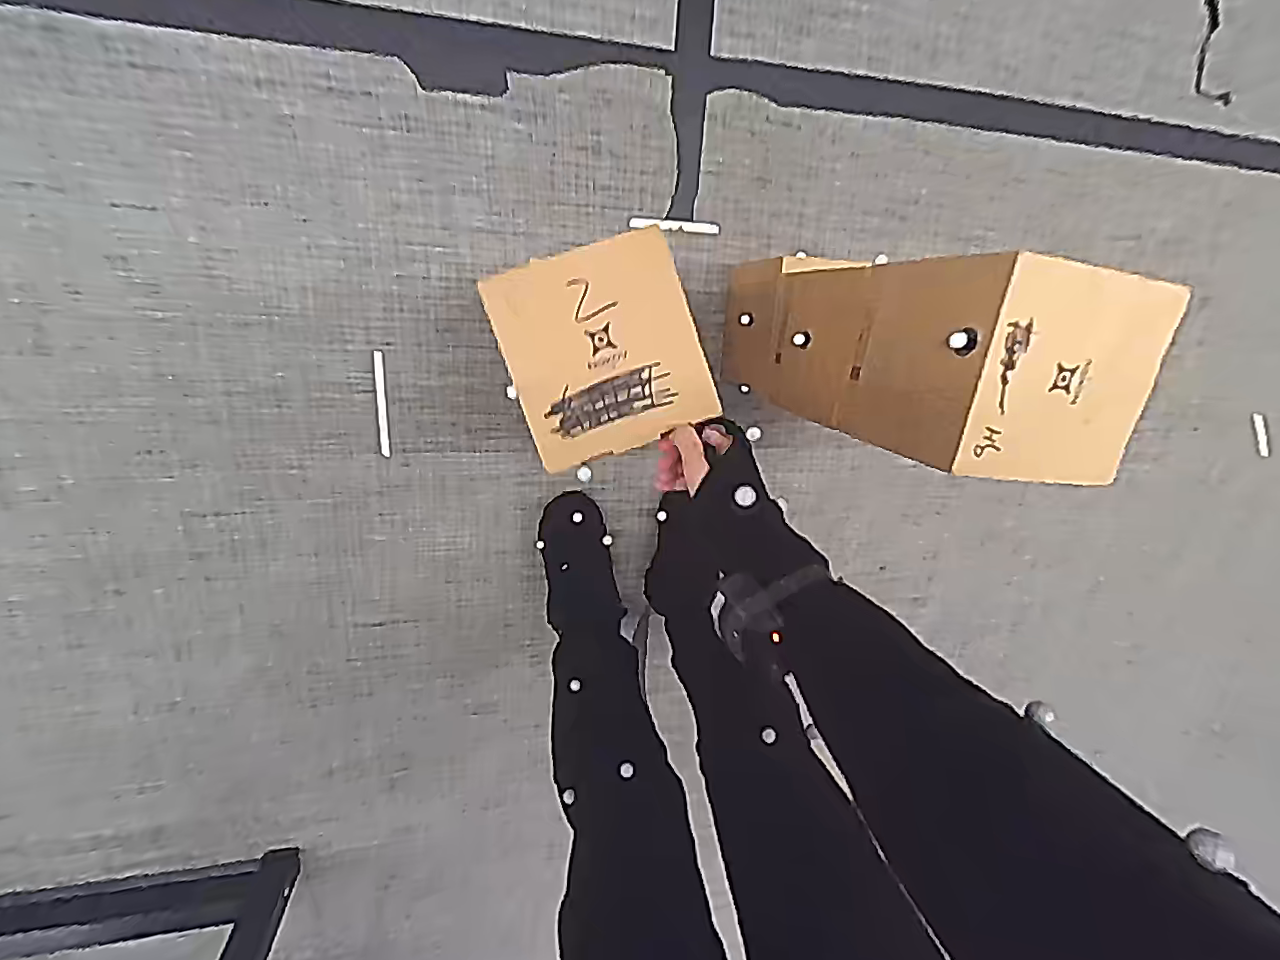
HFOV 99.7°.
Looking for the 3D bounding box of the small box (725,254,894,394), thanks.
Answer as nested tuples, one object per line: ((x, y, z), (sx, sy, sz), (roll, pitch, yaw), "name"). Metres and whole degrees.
((0.233, -0.224, 0.787), (0.168, 0.176, 0.179), (-2, 108, -14), "small box")

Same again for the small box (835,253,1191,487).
((0.315, -0.102, 0.492), (0.179, 0.176, 0.168), (4, 108, -17), "small box")

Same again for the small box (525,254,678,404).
((-0.062, -0.198, 0.721), (0.179, 0.176, 0.168), (-1, 108, -14), "small box")

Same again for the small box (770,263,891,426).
((0.276, -0.156, 0.642), (0.179, 0.176, 0.168), (0, 109, -15), "small box")
